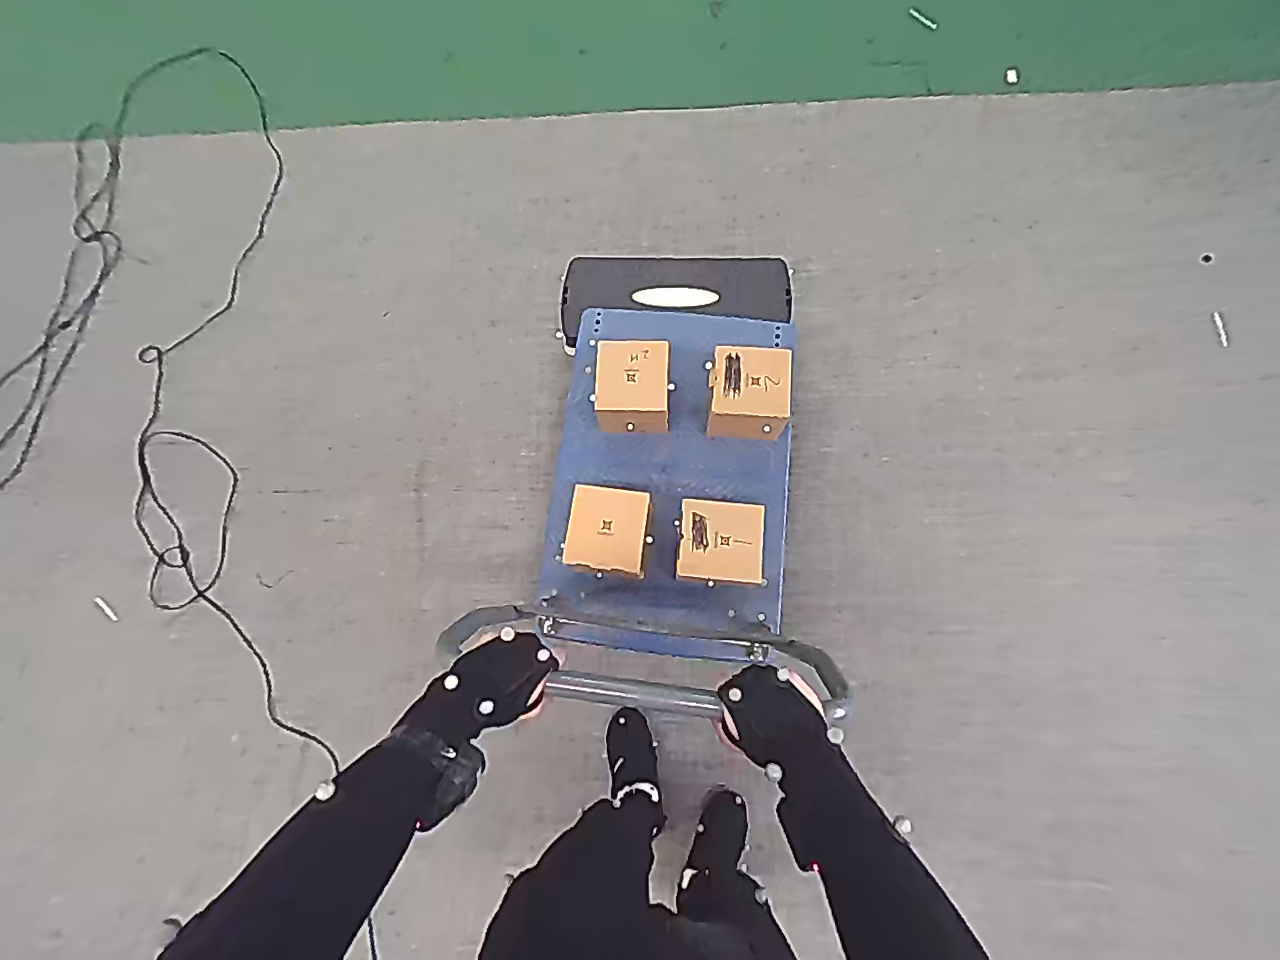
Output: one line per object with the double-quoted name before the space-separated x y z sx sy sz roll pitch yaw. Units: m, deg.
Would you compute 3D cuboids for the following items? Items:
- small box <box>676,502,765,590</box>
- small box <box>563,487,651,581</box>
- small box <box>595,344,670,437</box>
"small box" 0.173 0.153 1.204 0.179 0.176 0.168 6 76 4
"small box" -0.067 0.128 1.225 0.168 0.176 0.179 7 77 4
"small box" -0.013 -0.210 1.309 0.168 0.176 0.179 2 76 3
